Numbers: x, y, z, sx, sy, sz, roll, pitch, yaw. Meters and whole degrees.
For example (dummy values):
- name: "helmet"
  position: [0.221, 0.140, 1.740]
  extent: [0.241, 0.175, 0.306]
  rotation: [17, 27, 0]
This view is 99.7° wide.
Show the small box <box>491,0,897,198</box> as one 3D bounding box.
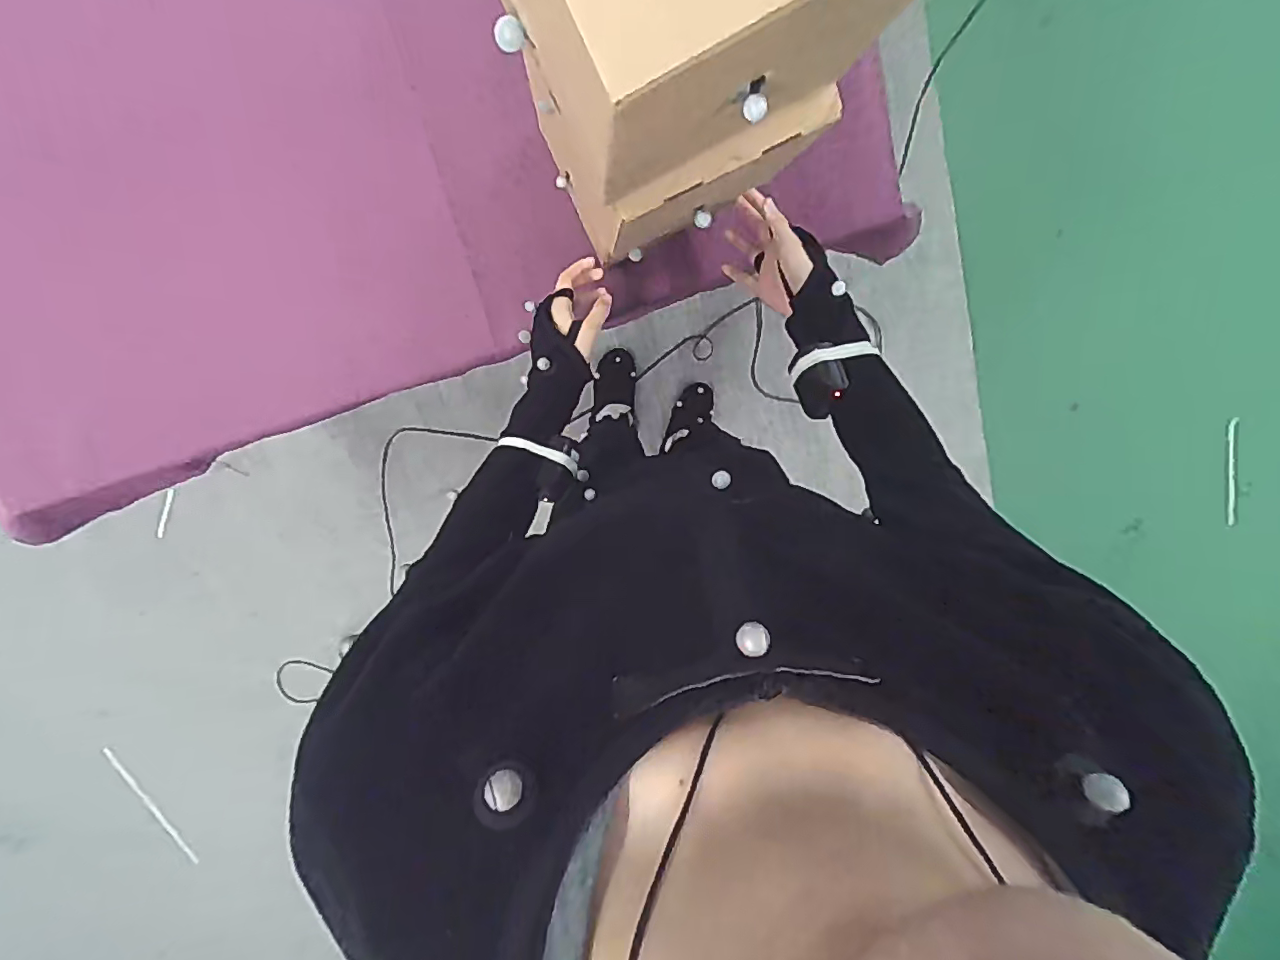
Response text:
- name: "small box"
  position: [0.016, -0.267, 0.255]
  extent: [0.179, 0.176, 0.168]
  rotation: [-27, 105, 3]

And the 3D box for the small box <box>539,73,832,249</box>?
- name: "small box"
  position: [0.013, -0.304, 0.415]
  extent: [0.168, 0.176, 0.179]
  rotation: [-25, 106, 2]
